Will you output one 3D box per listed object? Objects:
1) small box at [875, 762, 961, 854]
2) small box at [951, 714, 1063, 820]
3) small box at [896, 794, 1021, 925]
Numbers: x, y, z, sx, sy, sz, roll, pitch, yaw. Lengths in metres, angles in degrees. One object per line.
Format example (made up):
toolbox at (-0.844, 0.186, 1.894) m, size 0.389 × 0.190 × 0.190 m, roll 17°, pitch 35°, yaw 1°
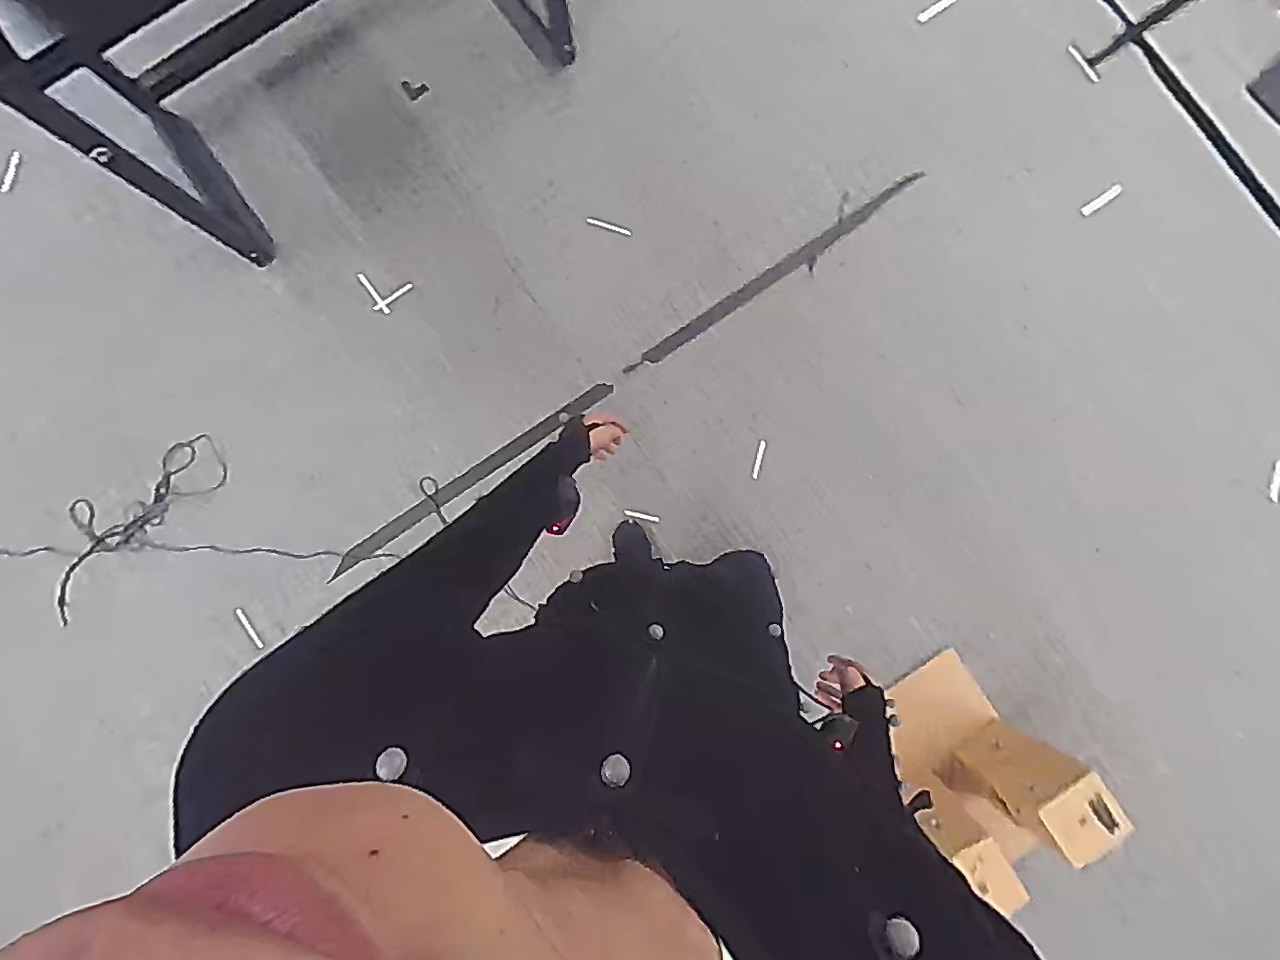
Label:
small box at (0.795, 0.941, 1.523) m, size 0.179 × 0.176 × 0.168 m, roll -32°, pitch 88°, yaw -2°
small box at (1.022, 0.803, 1.529) m, size 0.179 × 0.176 × 0.168 m, roll -33°, pitch 89°, yaw -3°
small box at (0.789, 0.941, 1.358) m, size 0.168 × 0.176 × 0.179 m, roll -31°, pitch 88°, yaw -2°
